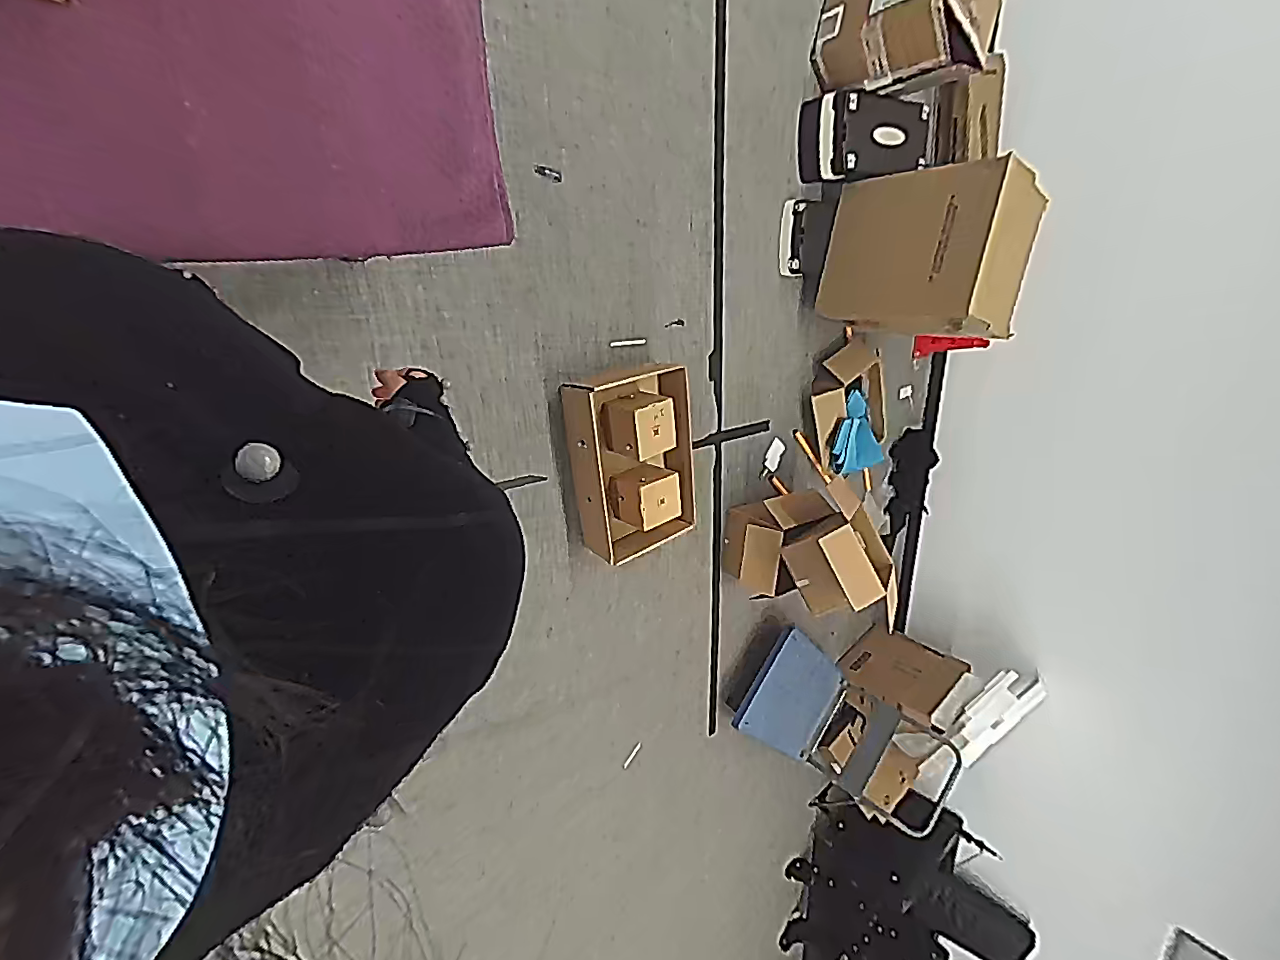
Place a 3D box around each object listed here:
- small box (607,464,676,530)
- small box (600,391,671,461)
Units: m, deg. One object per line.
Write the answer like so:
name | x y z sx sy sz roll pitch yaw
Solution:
small box | 0.007 0.052 1.909 0.179 0.176 0.168 -22 116 -34
small box | -0.015 -0.186 1.809 0.168 0.176 0.179 -24 120 -34
